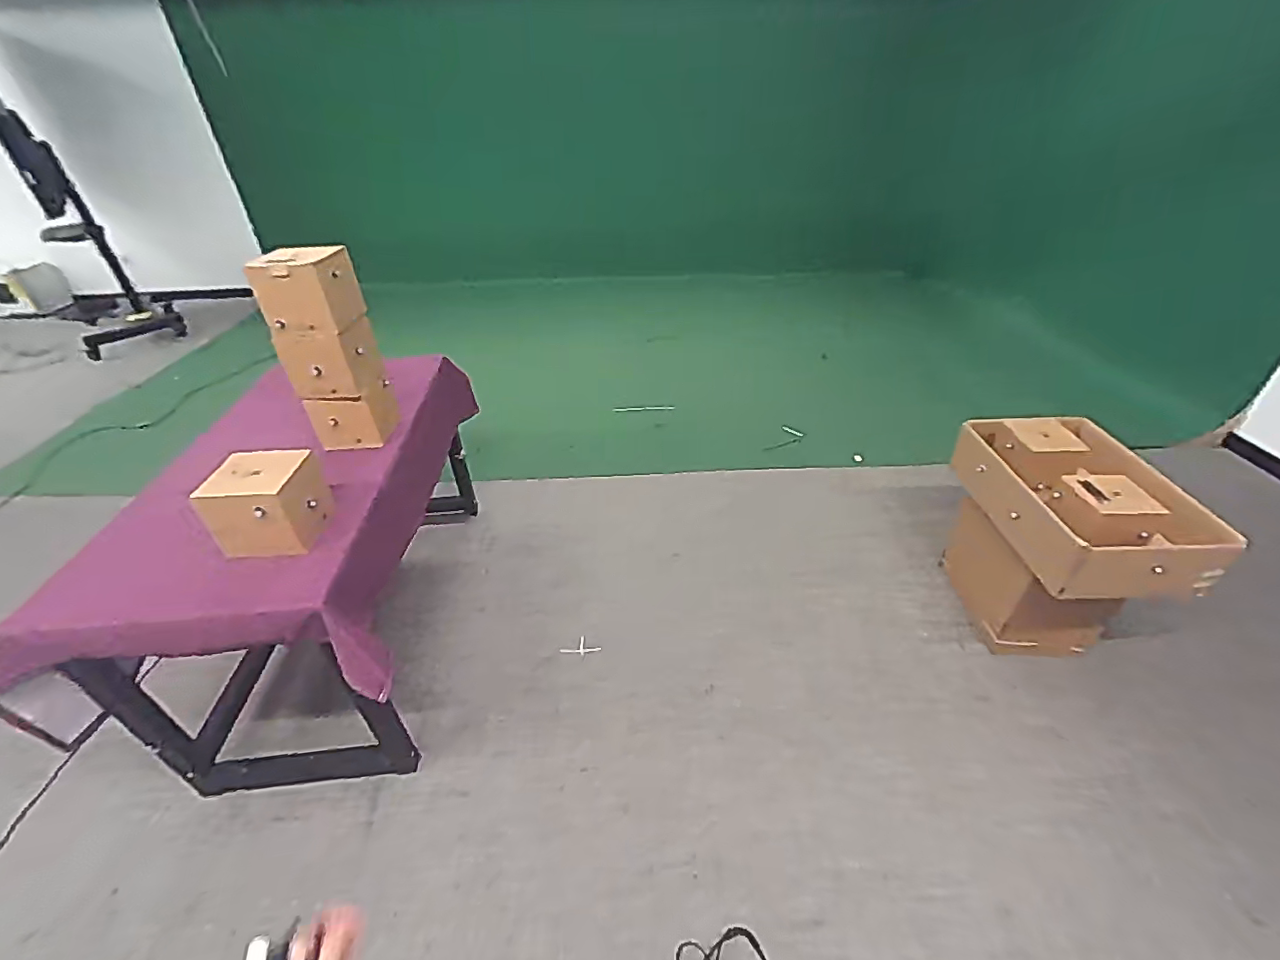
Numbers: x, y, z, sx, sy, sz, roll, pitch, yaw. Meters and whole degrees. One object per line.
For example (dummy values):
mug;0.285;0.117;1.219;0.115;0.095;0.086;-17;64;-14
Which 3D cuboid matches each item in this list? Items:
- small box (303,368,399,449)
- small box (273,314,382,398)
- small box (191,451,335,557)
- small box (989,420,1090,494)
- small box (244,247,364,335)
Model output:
small box;-0.805;-0.198;1.530;0.168;0.176;0.179;-4;36;-2
small box;-0.810;-0.326;1.427;0.168;0.176;0.179;-1;37;1
small box;-0.807;0.054;1.184;0.179;0.176;0.168;-3;36;-1
small box;1.235;-0.073;1.688;0.168;0.176;0.179;-1;38;3
small box;-0.814;-0.464;1.336;0.168;0.176;0.179;-2;35;1
